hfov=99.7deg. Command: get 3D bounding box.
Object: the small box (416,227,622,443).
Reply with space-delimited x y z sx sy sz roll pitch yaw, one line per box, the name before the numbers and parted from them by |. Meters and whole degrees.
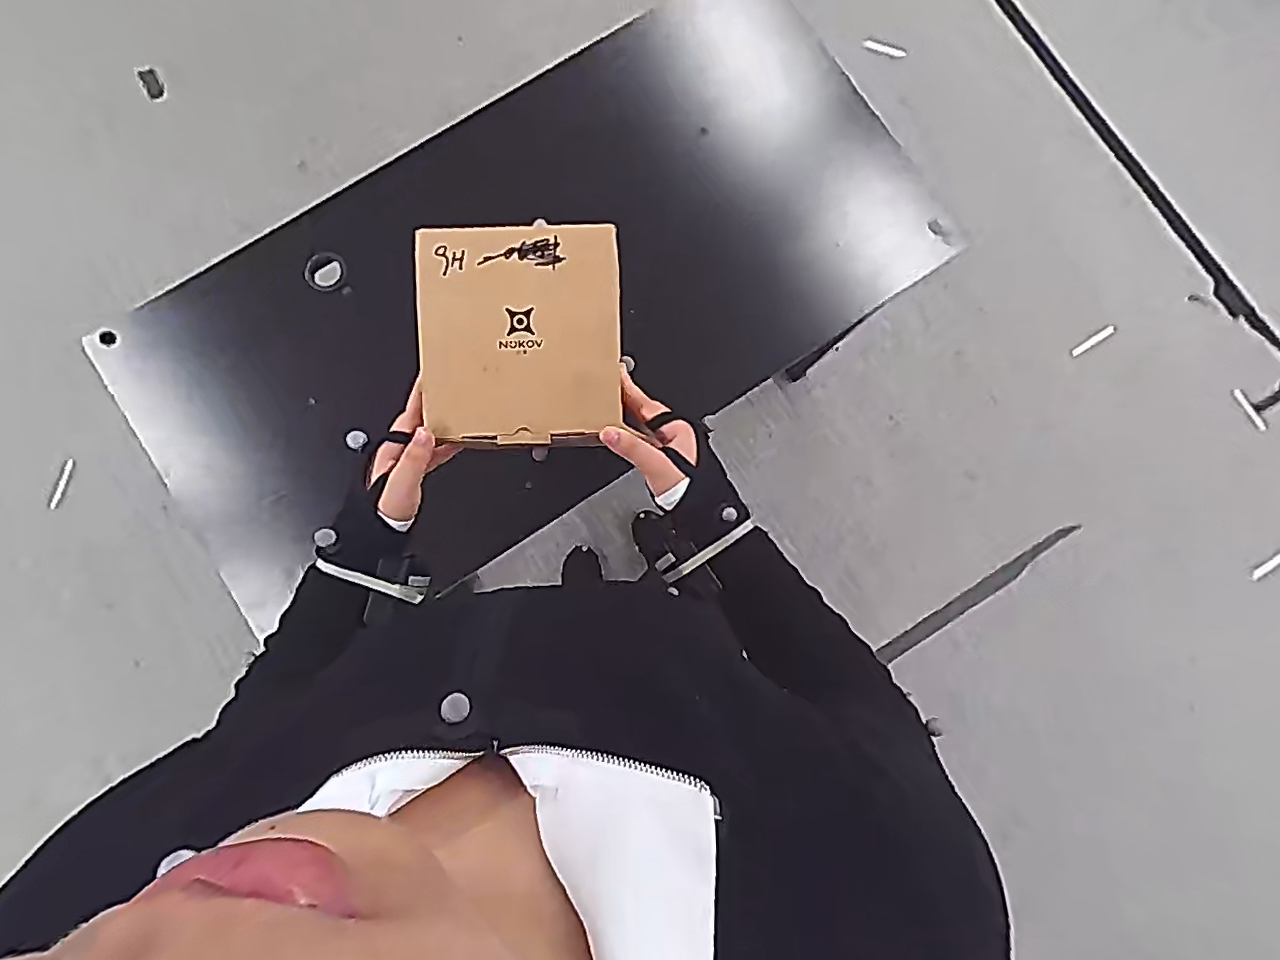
small box | -0.103 -0.125 0.531 0.168 0.176 0.179 -2 92 -1
